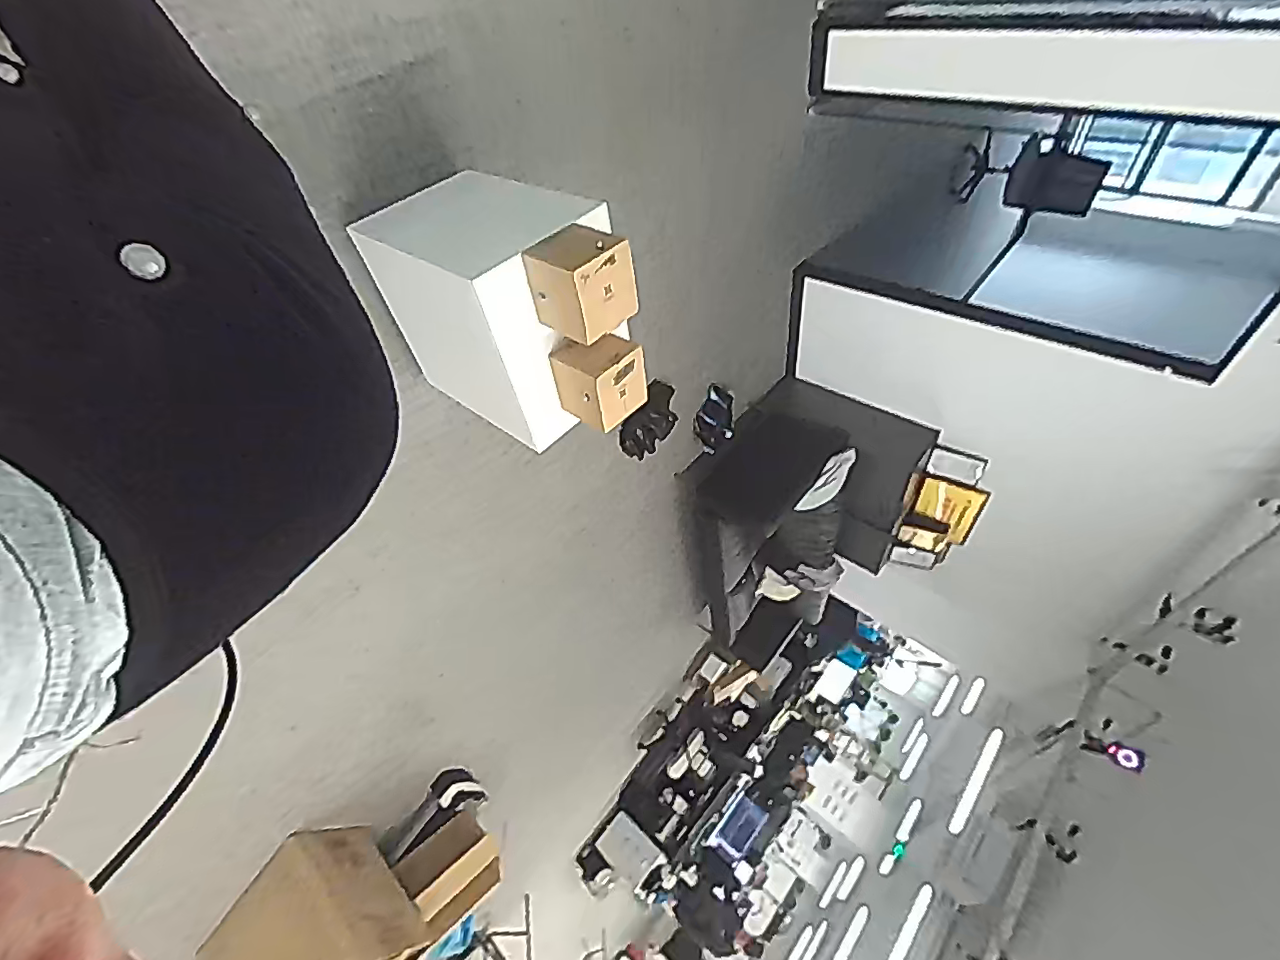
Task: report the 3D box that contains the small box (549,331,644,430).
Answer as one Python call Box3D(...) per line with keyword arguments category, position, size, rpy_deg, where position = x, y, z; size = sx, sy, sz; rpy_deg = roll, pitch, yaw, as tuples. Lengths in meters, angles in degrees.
Box3D(category="small box", position=(-0.111, -0.264, 1.376), size=(0.168, 0.176, 0.179), rpy_deg=(-42, 146, -27))

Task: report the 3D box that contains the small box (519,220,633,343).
Box3D(category="small box", position=(-0.136, -0.438, 1.184), size=(0.168, 0.176, 0.179), rpy_deg=(-43, 148, -26))
